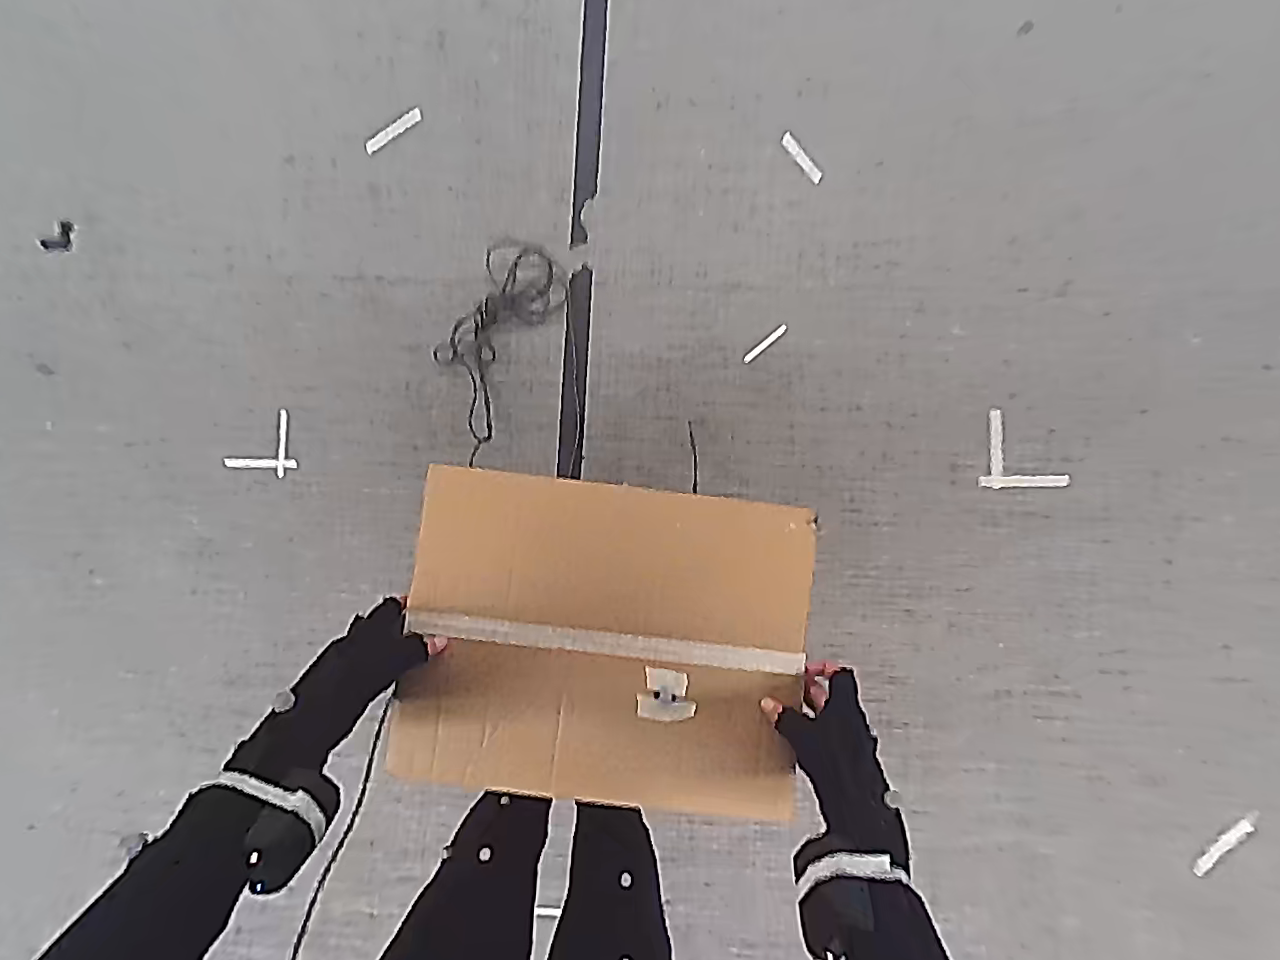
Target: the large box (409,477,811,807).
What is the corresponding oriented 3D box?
[{"bbox_3d":[-0.032,0.181,0.718,0.408,0.320,0.320,7,86,-1],"label":"large box"}]
